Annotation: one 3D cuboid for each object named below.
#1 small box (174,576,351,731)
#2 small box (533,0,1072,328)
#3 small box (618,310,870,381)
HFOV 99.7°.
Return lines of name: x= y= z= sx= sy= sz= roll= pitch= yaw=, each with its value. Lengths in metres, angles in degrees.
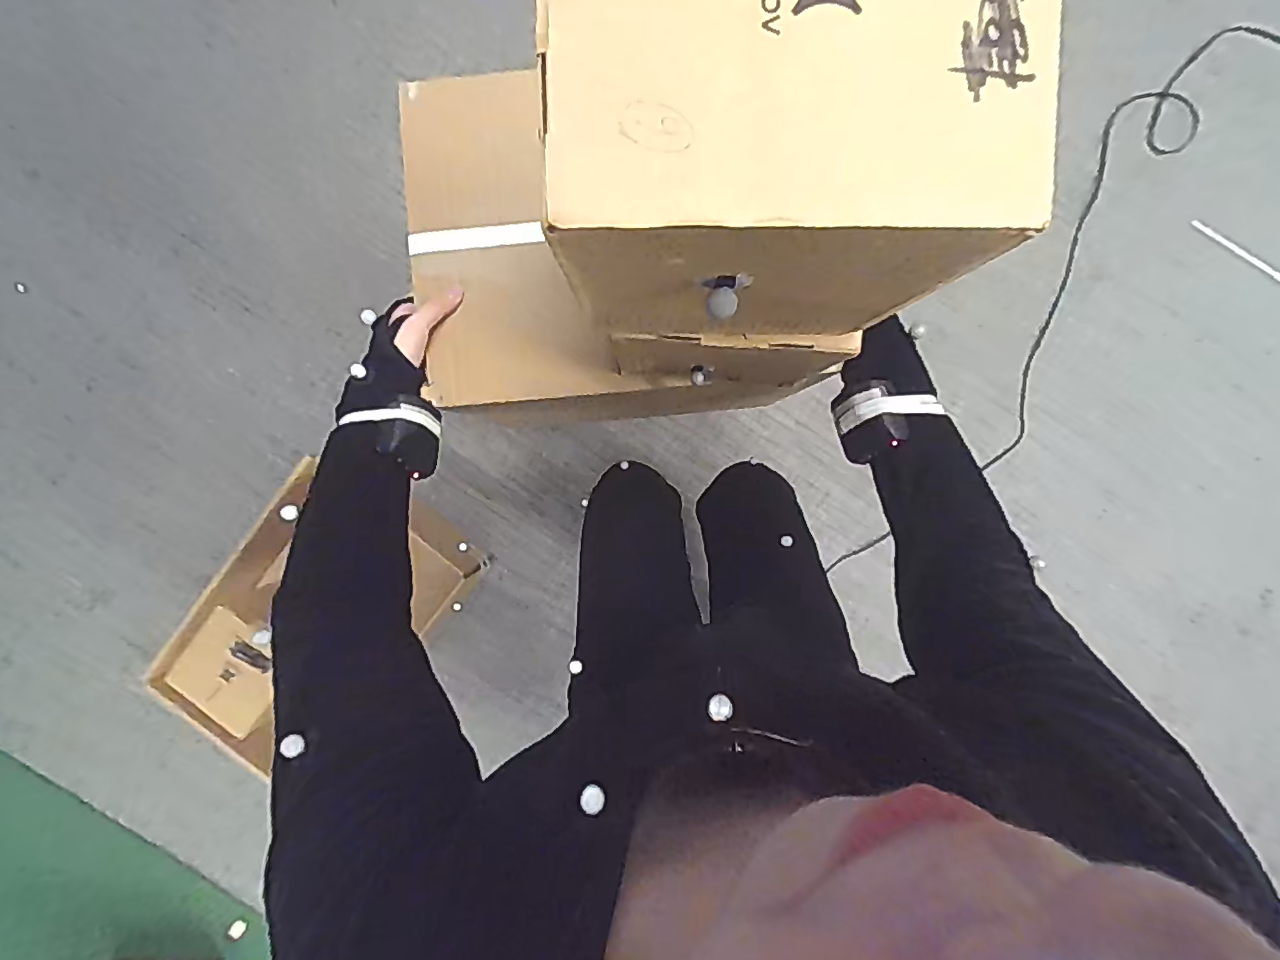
small box: x=-0.668 y=0.303 z=0.984 sx=0.168 sy=0.176 sz=0.179 roll=39 pitch=97 yaw=-1
small box: x=0.055 y=-0.171 z=0.256 sx=0.179 sy=0.176 sz=0.168 roll=1 pitch=94 yaw=2
small box: x=0.071 y=-0.180 z=0.420 sx=0.168 sy=0.176 sz=0.179 roll=4 pitch=94 yaw=1
